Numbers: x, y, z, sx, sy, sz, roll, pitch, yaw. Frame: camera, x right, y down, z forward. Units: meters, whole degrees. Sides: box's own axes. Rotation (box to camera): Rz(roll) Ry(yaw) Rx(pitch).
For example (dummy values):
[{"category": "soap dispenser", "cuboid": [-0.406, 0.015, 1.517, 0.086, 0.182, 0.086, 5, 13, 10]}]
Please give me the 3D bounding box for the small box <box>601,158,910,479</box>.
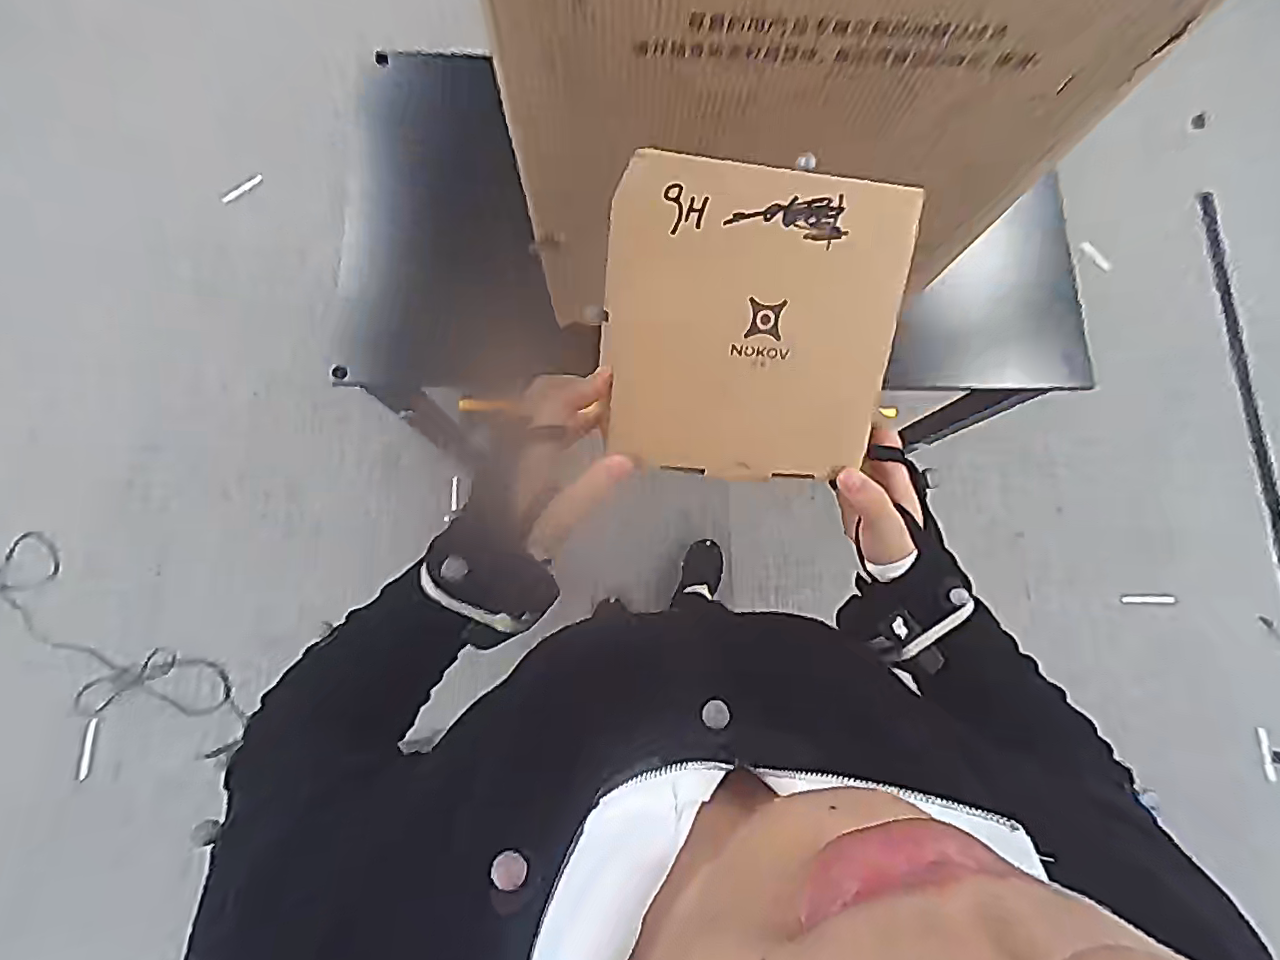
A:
[{"category": "small box", "cuboid": [0.060, -0.112, 0.404, 0.168, 0.176, 0.179, 3, 107, -8]}]
